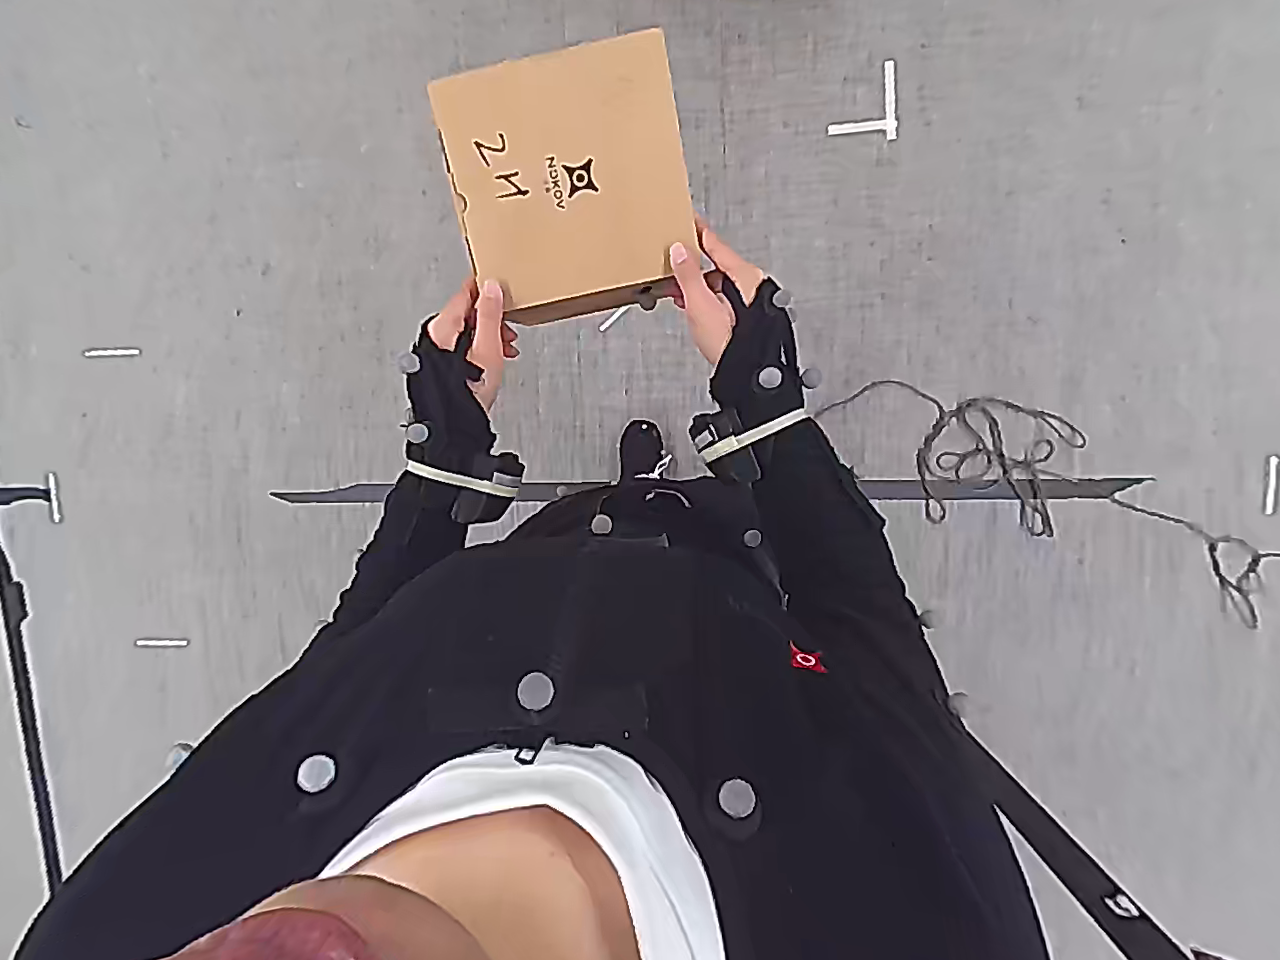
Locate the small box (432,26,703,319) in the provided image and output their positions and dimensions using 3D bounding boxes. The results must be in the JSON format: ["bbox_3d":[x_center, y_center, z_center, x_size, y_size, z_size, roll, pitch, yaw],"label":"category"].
[{"bbox_3d":[-0.051,-0.244,0.476,0.179,0.176,0.168,-10,102,3],"label":"small box"}]
